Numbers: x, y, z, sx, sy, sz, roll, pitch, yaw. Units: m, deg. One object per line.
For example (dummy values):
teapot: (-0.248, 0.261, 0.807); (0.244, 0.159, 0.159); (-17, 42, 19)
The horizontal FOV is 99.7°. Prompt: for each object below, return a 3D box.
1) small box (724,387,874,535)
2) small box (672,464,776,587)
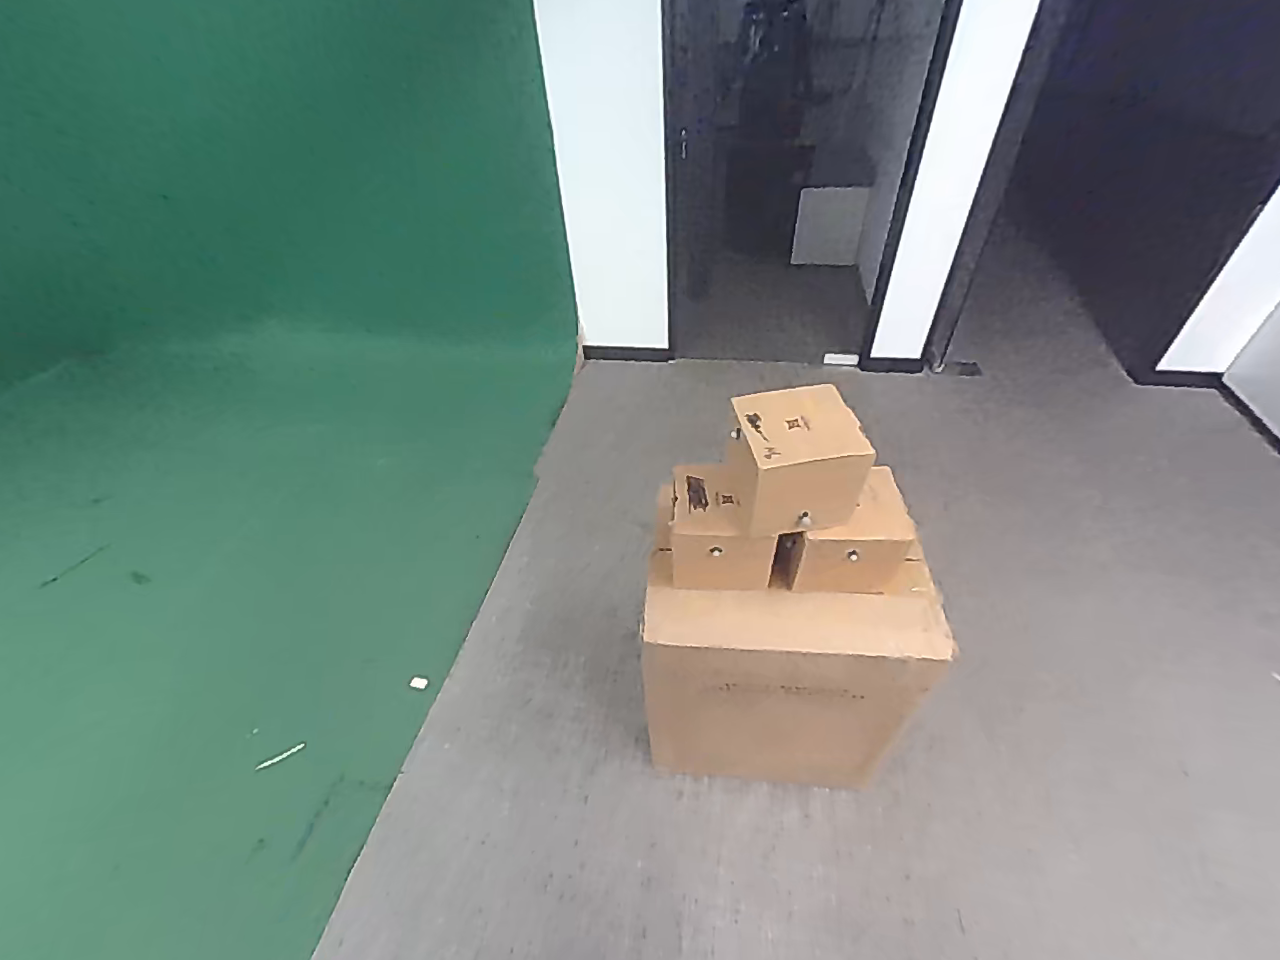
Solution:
small box: (0.247, -0.029, 0.889); (0.179, 0.176, 0.168); (-7, 47, -4)
small box: (0.151, 0.087, 1.011); (0.179, 0.176, 0.168); (1, 47, 4)
